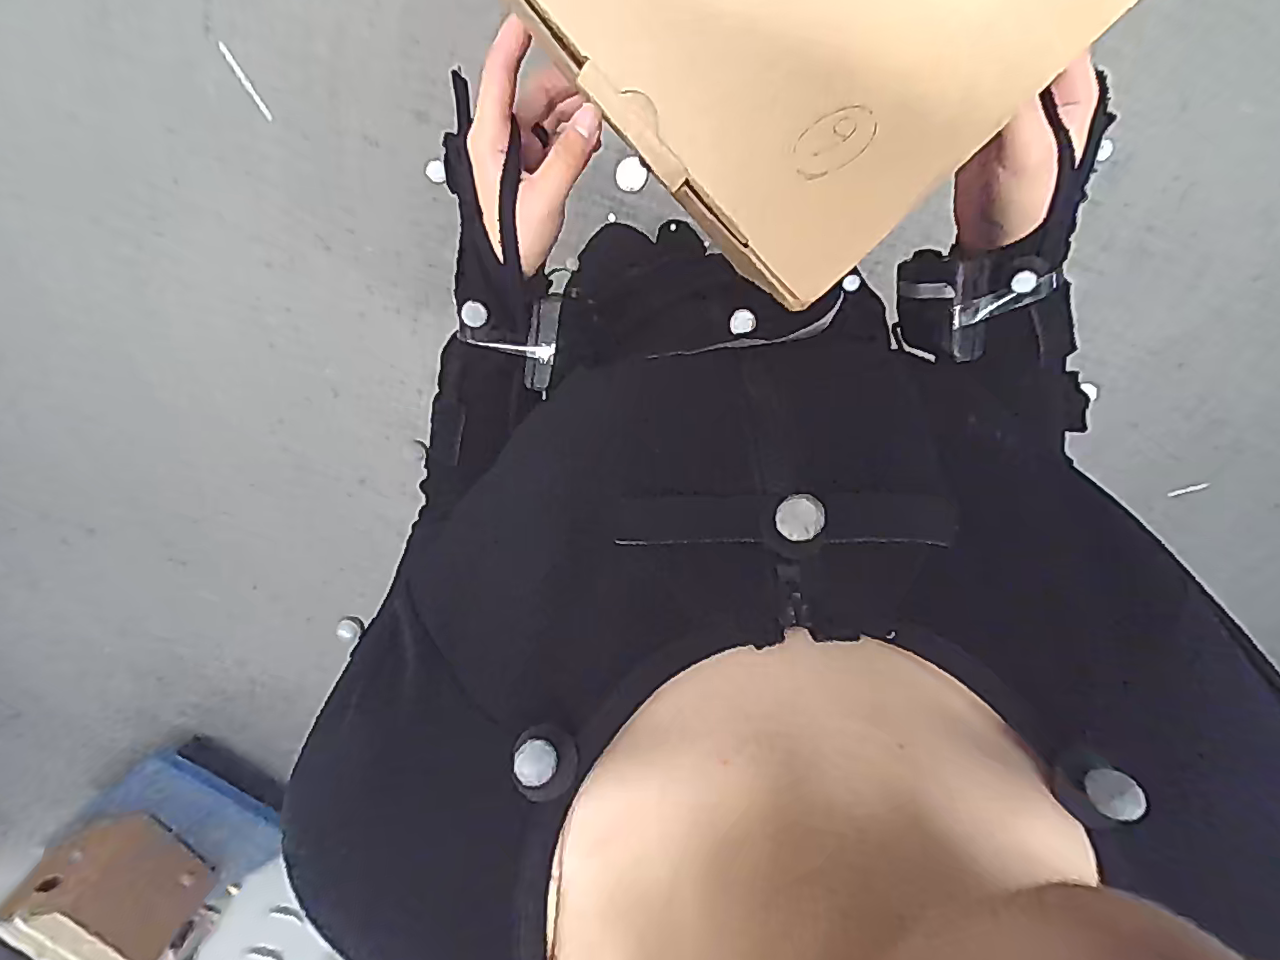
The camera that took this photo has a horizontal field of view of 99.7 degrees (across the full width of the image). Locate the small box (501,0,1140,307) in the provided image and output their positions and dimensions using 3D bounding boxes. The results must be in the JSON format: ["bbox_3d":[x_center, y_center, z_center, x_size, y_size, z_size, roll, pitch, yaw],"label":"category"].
[{"bbox_3d":[0.063,-0.199,0.216,0.168,0.176,0.179,43,111,-14],"label":"small box"}]
